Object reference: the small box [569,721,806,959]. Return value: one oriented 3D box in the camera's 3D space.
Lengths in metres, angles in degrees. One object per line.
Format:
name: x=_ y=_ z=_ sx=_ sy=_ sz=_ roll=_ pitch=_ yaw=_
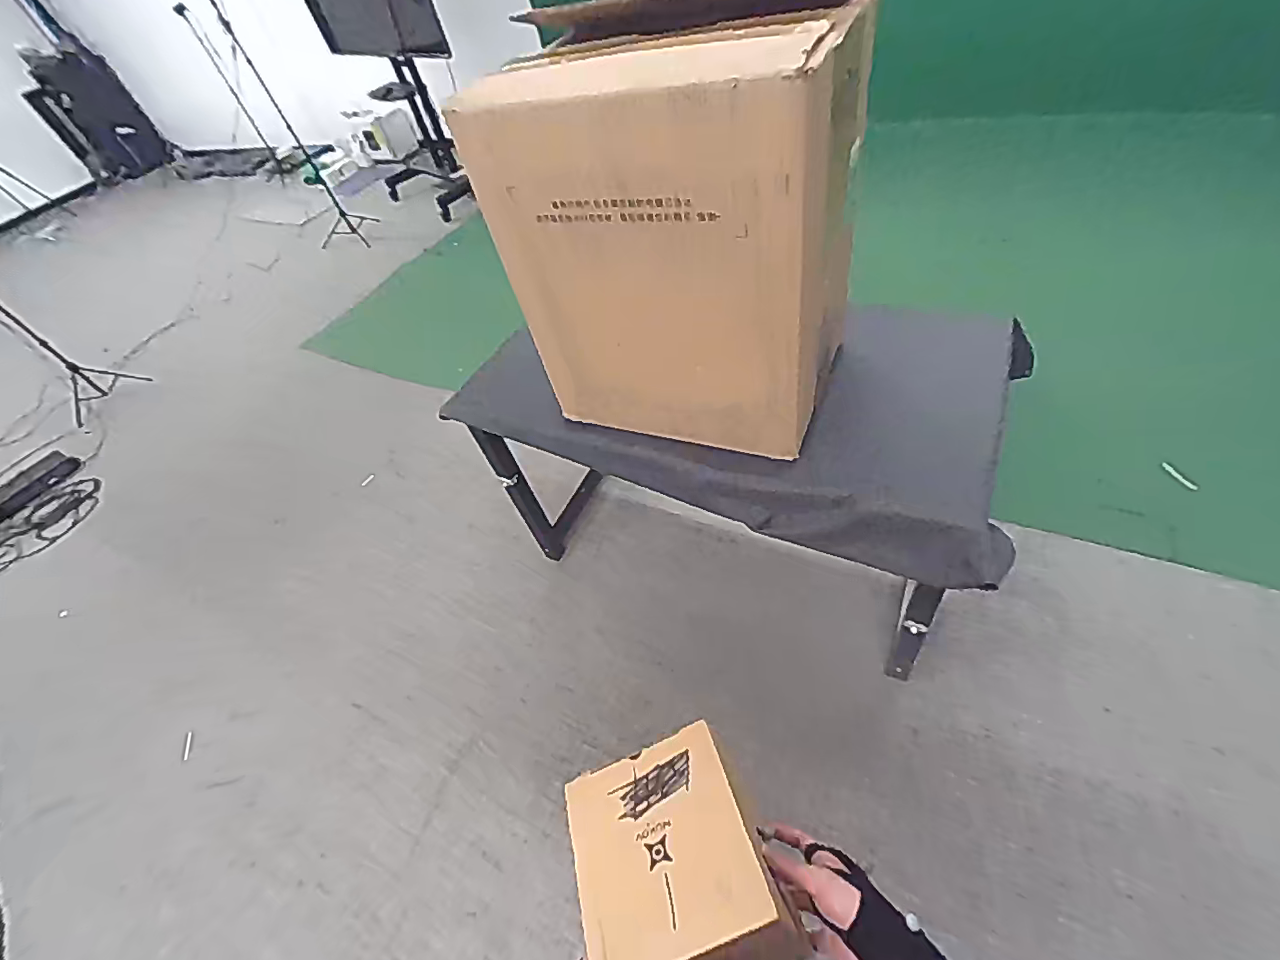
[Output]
small box: x=0.045 y=0.389 z=0.547 sx=0.168 sy=0.176 sz=0.179 roll=-26 pitch=38 yaw=2
